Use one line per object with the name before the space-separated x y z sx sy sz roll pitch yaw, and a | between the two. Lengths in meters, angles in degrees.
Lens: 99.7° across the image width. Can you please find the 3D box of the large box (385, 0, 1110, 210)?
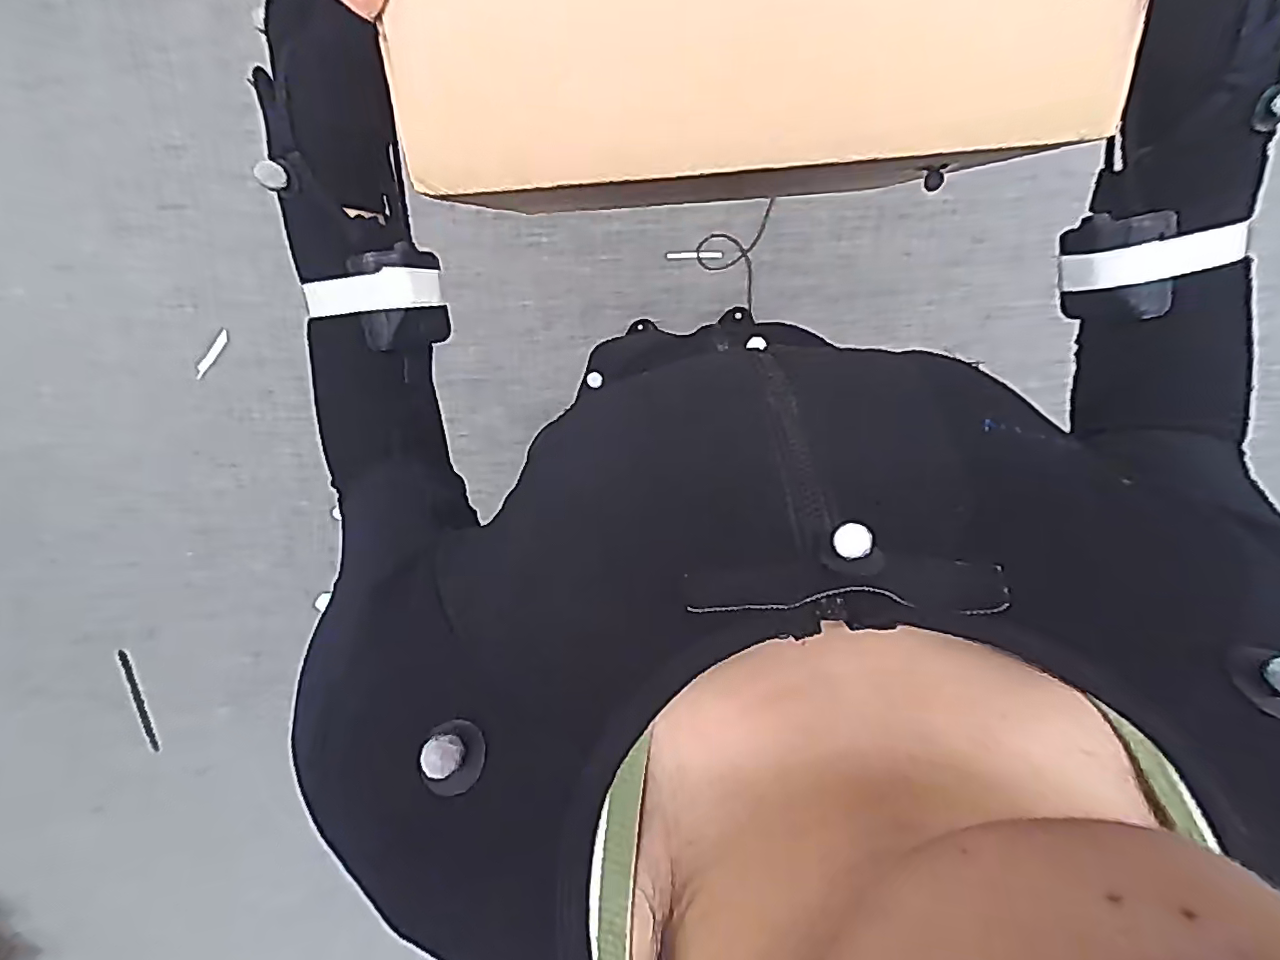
large box | 0.056 -0.391 0.402 0.408 0.320 0.320 -3 114 3
